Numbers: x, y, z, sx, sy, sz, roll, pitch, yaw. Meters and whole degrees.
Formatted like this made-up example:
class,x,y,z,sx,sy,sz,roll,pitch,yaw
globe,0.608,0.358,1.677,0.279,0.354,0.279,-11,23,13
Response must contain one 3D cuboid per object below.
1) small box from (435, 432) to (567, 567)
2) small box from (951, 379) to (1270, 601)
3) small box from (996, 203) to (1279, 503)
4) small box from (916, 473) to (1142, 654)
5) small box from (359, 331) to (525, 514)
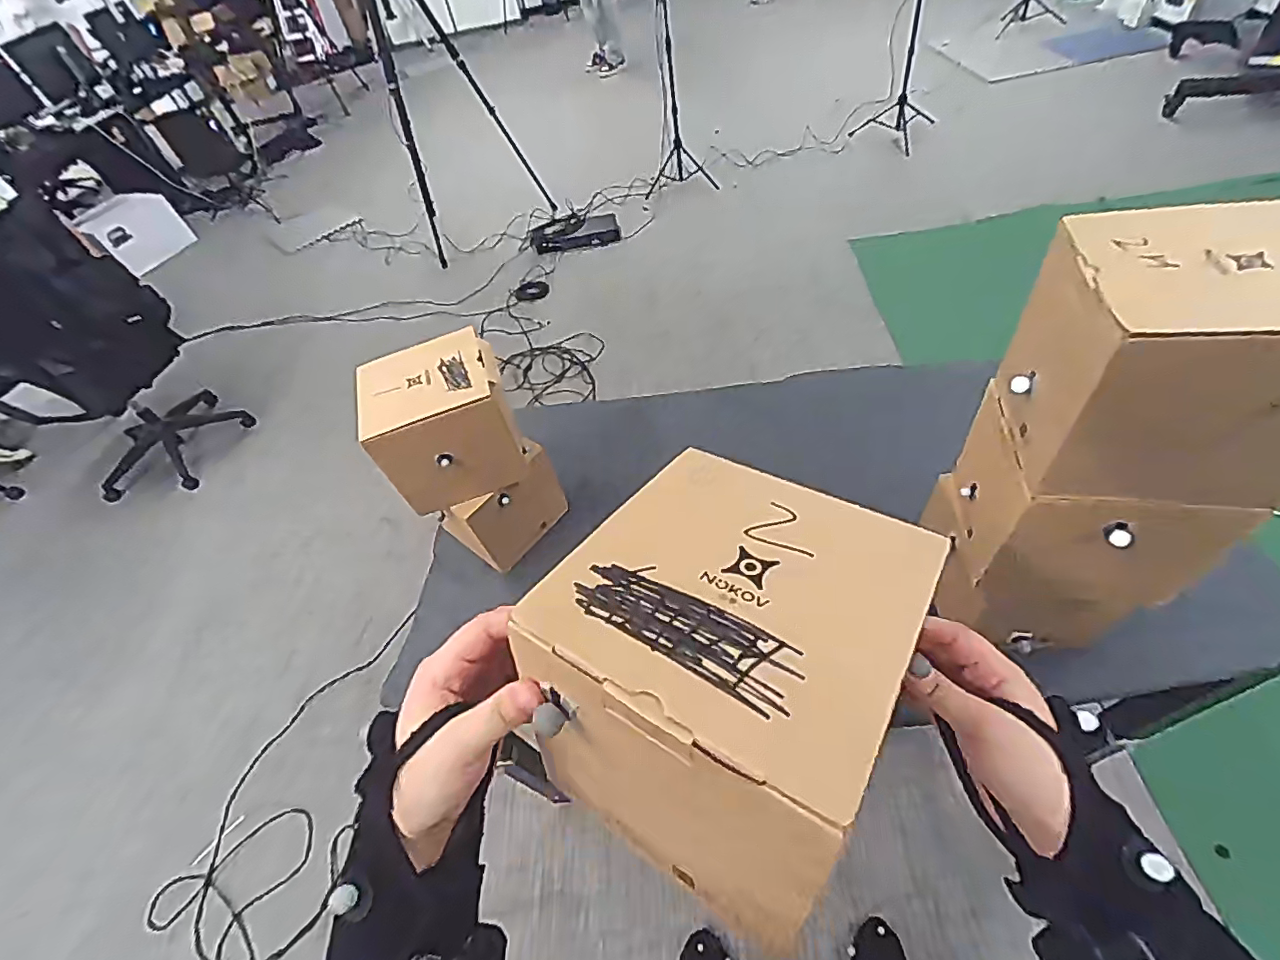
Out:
class,x,y,z,sx,sy,sz,roll,pitch,yaw
small box,-0.252,0.019,0.916,0.179,0.176,0.168,29,62,30
small box,0.449,0.011,0.558,0.179,0.176,0.168,2,51,15
small box,0.423,-0.096,0.436,0.179,0.176,0.168,3,51,16
small box,0.476,0.103,0.690,0.168,0.176,0.179,-6,50,8
small box,-0.279,-0.080,0.787,0.179,0.176,0.168,-21,51,-5
